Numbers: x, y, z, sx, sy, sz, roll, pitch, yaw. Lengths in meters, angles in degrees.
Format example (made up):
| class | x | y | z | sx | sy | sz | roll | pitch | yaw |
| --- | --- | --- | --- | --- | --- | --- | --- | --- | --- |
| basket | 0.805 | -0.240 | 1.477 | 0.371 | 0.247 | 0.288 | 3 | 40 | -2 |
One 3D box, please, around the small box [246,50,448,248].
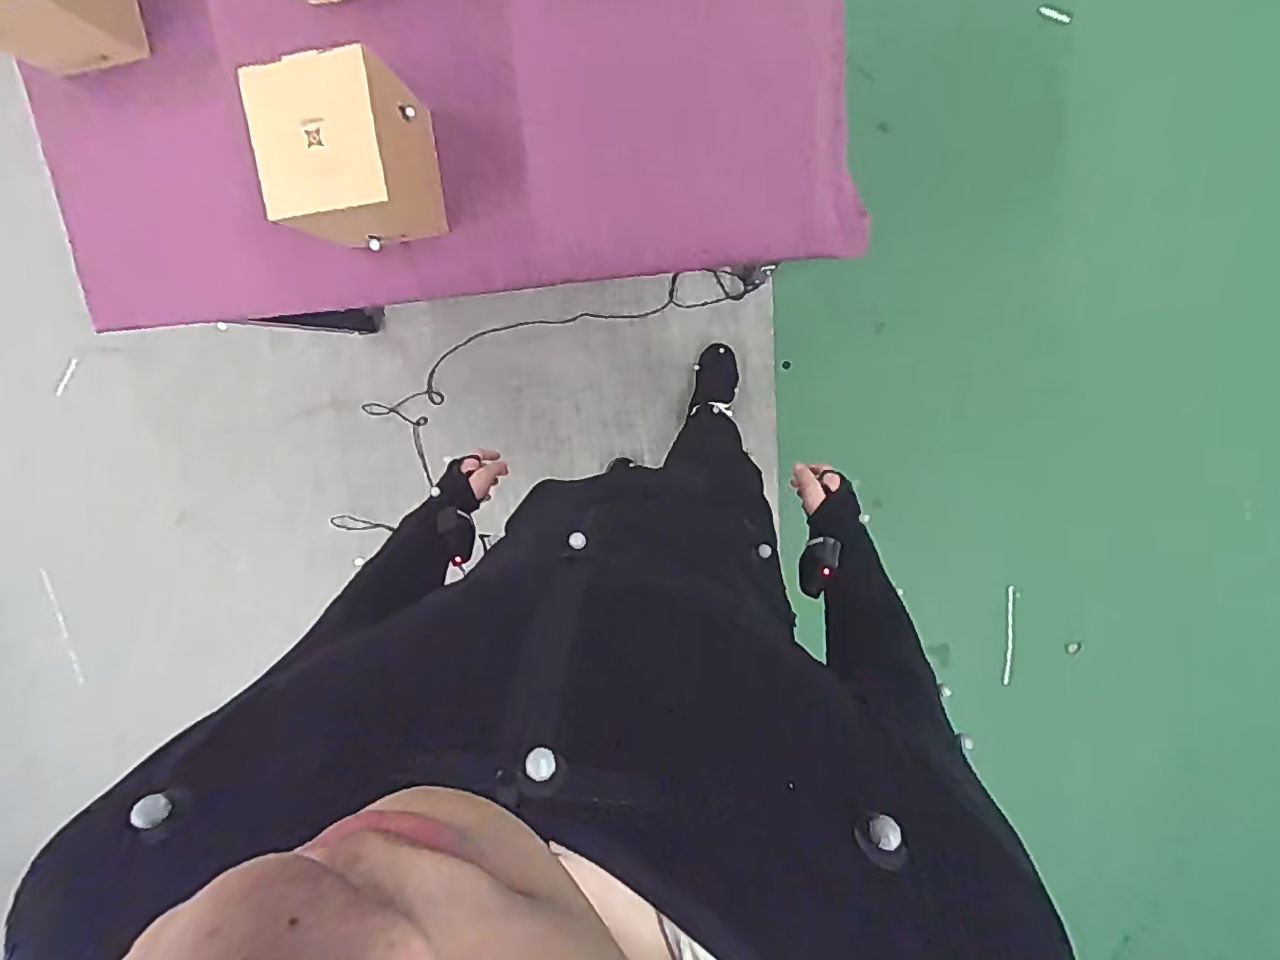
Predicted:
| class | x | y | z | sx | sy | sz | roll | pitch | yaw |
| --- | --- | --- | --- | --- | --- | --- | --- | --- | --- |
| small box | -0.388 | -0.439 | 0.748 | 0.168 | 0.176 | 0.179 | -4 | 101 | 8 |
